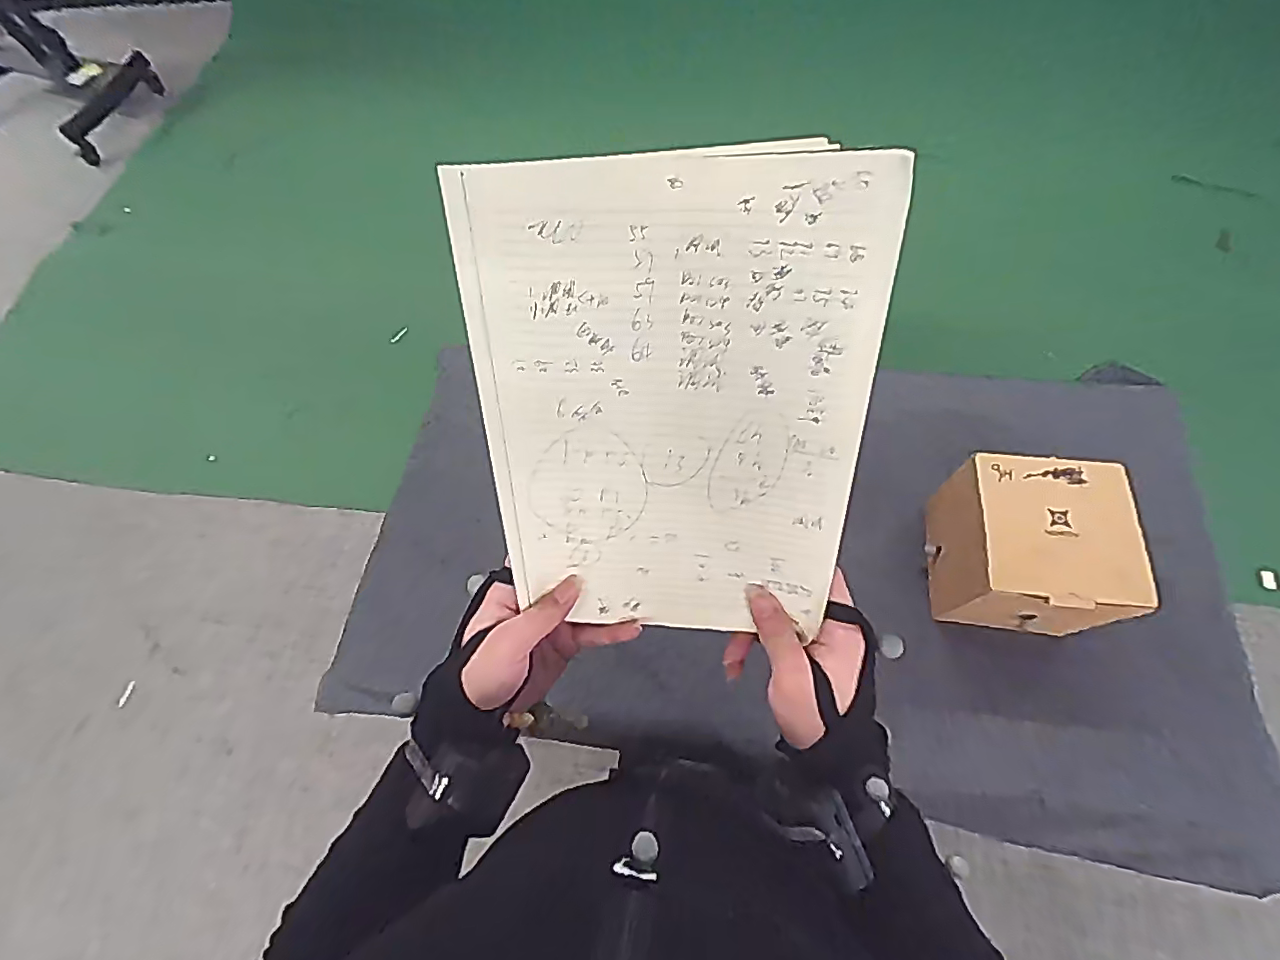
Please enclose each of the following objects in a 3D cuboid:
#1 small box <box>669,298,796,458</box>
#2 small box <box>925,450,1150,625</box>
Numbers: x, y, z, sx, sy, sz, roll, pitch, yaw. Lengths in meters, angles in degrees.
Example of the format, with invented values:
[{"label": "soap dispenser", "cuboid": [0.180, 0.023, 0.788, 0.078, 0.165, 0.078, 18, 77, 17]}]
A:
[{"label": "small box", "cuboid": [0.136, -0.146, 0.812, 0.168, 0.176, 0.179, 5, 66, 7]}, {"label": "small box", "cuboid": [0.484, 0.081, 0.691, 0.168, 0.176, 0.179, 6, 68, 8]}]
